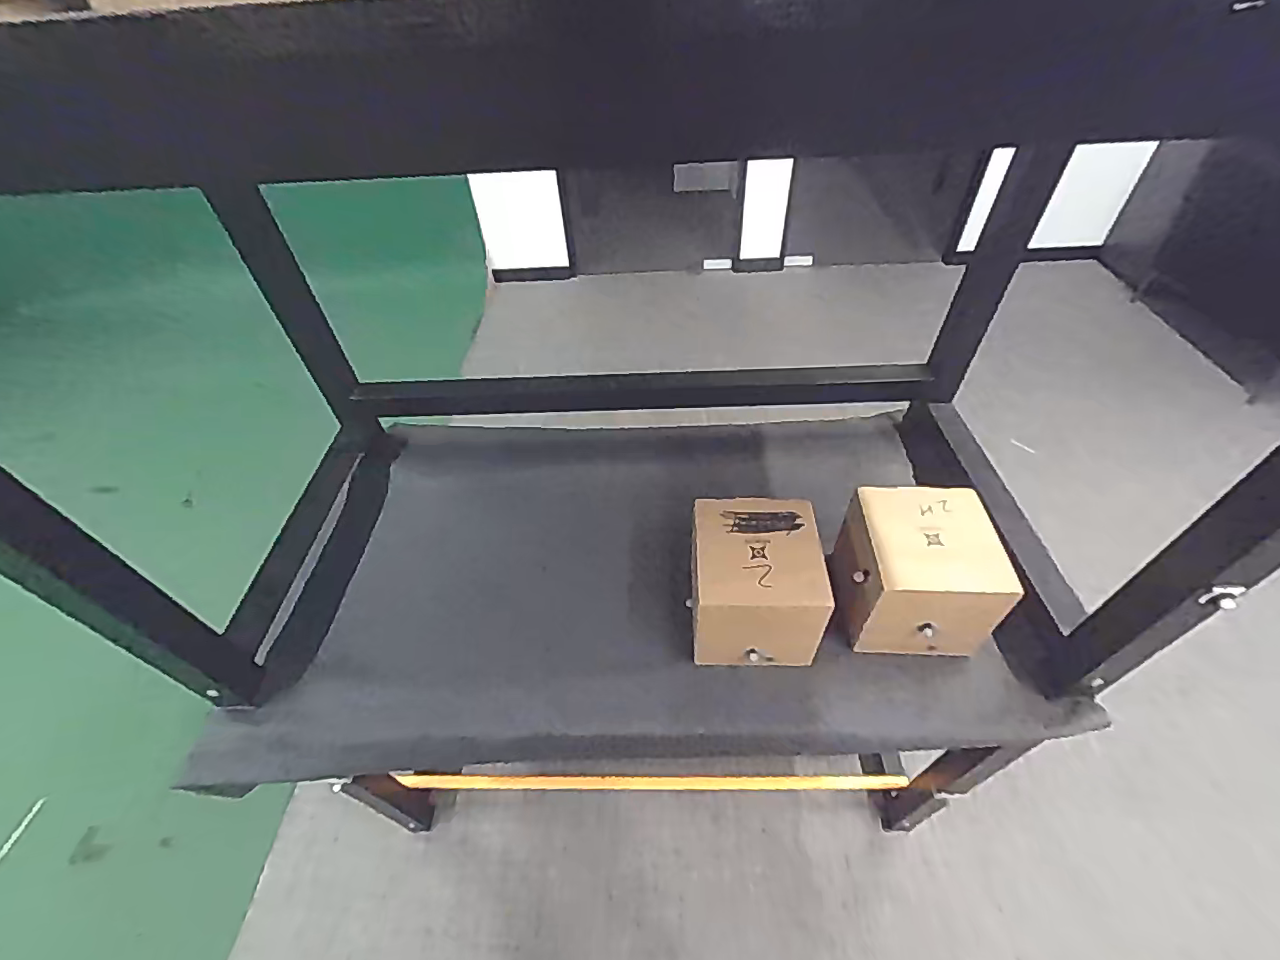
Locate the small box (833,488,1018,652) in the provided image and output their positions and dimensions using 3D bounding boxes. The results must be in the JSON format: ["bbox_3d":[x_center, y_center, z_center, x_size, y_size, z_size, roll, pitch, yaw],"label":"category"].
[{"bbox_3d":[0.388,0.130,0.775,0.168,0.176,0.179,1,46,5],"label":"small box"}]
